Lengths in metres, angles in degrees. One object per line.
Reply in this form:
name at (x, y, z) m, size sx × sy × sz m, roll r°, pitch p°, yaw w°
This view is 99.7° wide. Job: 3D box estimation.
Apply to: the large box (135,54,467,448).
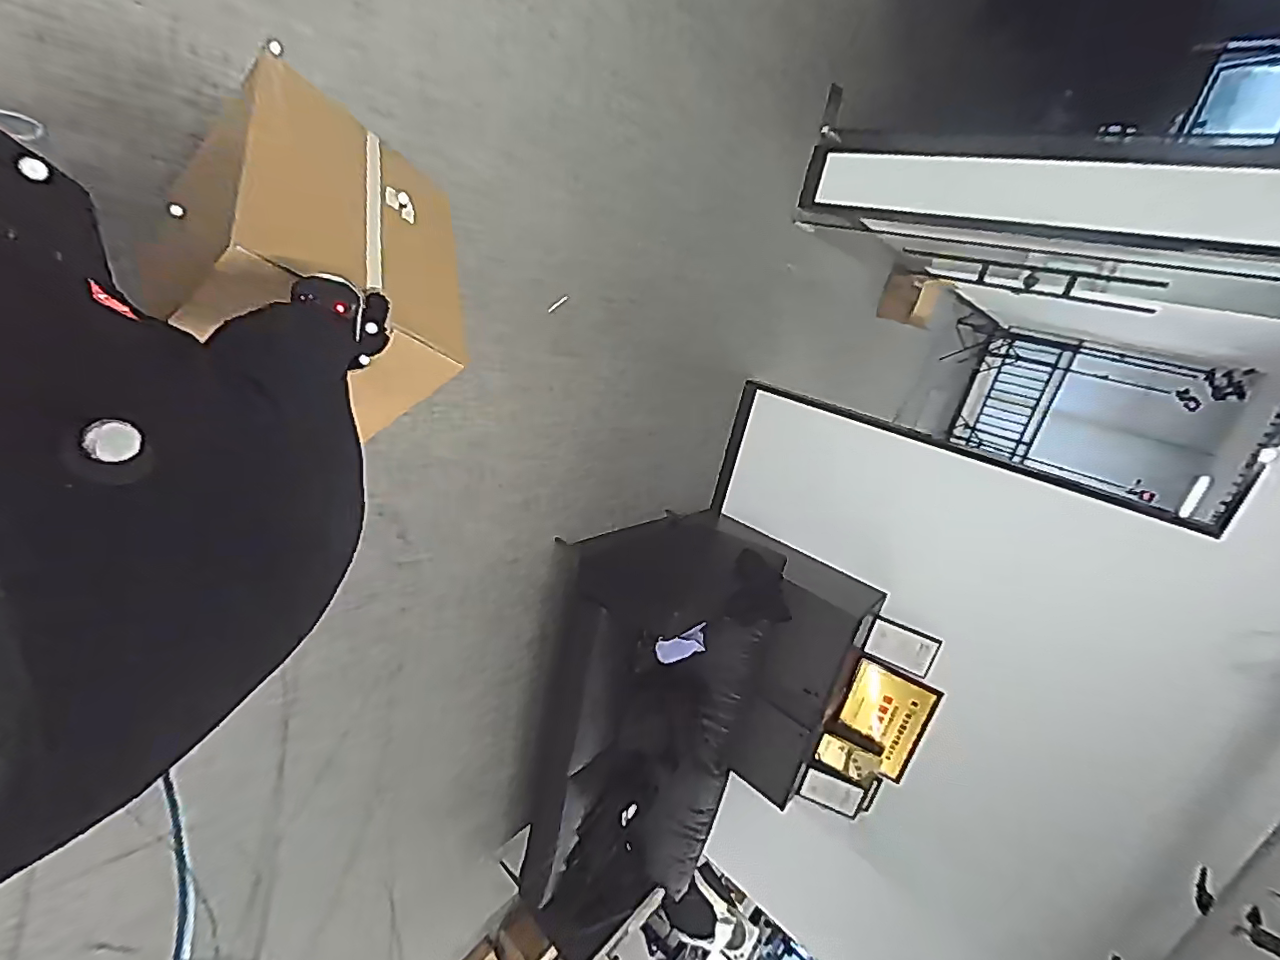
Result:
large box at (-0.512, -0.319, 0.847) m, size 0.320 × 0.408 × 0.320 m, roll -28°, pitch 151°, yaw 24°
